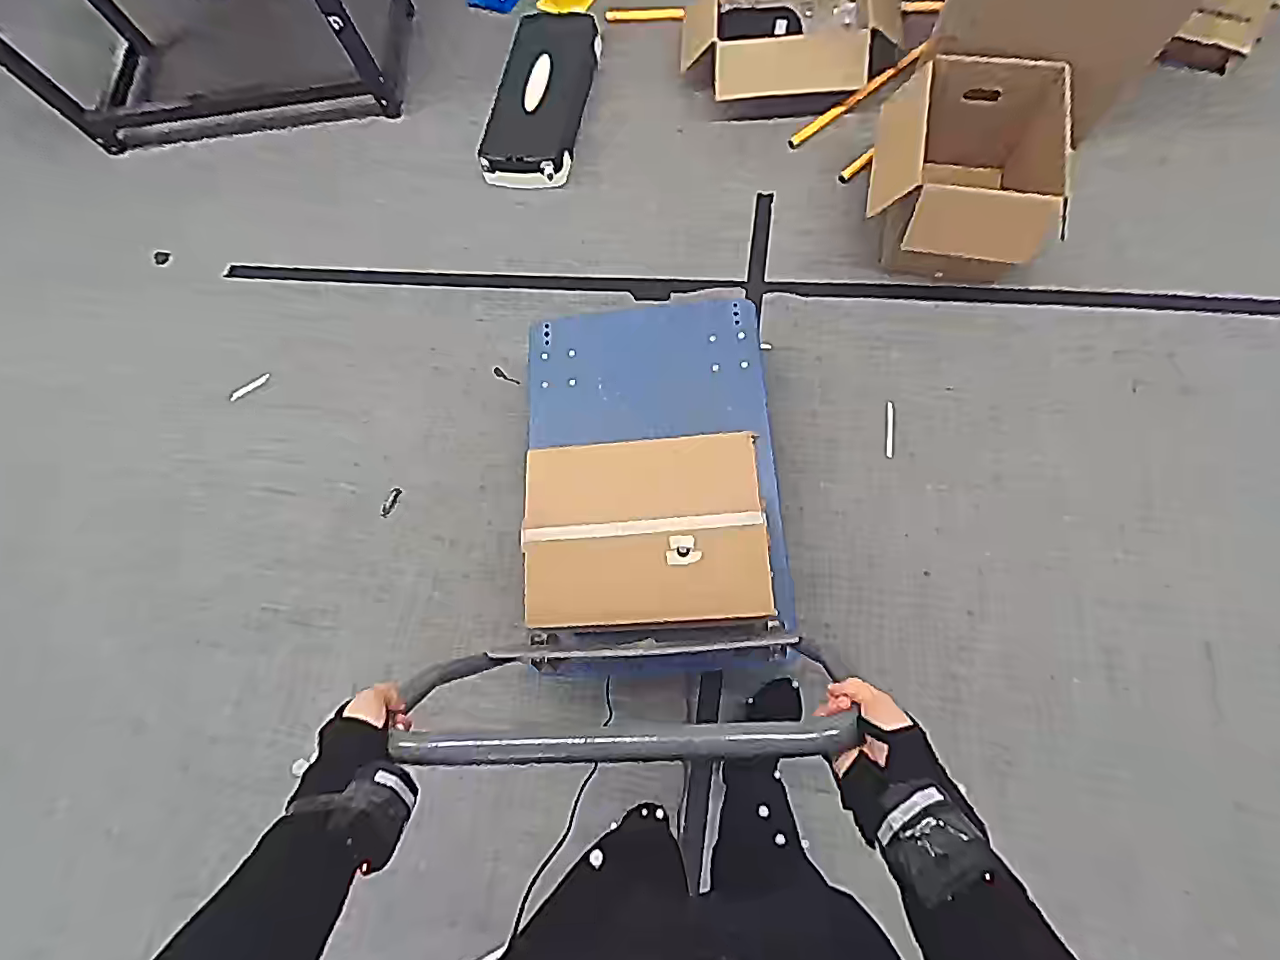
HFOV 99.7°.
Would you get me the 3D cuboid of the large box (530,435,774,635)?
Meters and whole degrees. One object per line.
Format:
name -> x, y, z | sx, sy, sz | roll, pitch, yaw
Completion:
large box -> 0.021, 0.128, 1.060 | 0.408, 0.320, 0.320 | -5, 74, 5
